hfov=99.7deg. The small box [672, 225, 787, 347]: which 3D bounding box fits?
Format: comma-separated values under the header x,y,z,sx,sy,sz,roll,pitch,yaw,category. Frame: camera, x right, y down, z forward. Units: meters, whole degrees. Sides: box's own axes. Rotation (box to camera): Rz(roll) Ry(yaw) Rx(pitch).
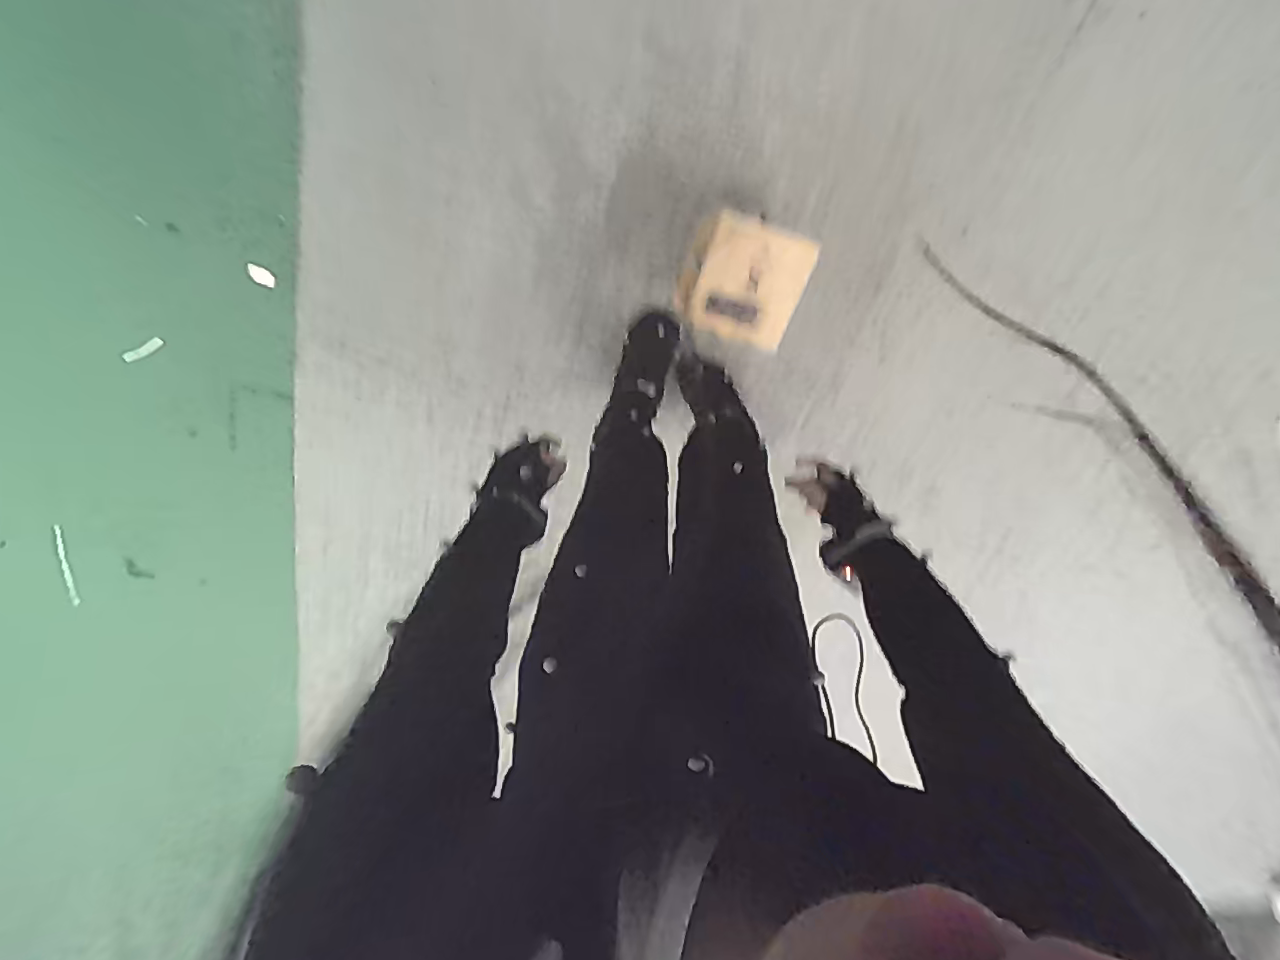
x,y,z,sx,sy,sz,roll,pitch,yaw,category
0.169,-0.400,1.100,0.168,0.176,0.179,21,116,-10,small box
